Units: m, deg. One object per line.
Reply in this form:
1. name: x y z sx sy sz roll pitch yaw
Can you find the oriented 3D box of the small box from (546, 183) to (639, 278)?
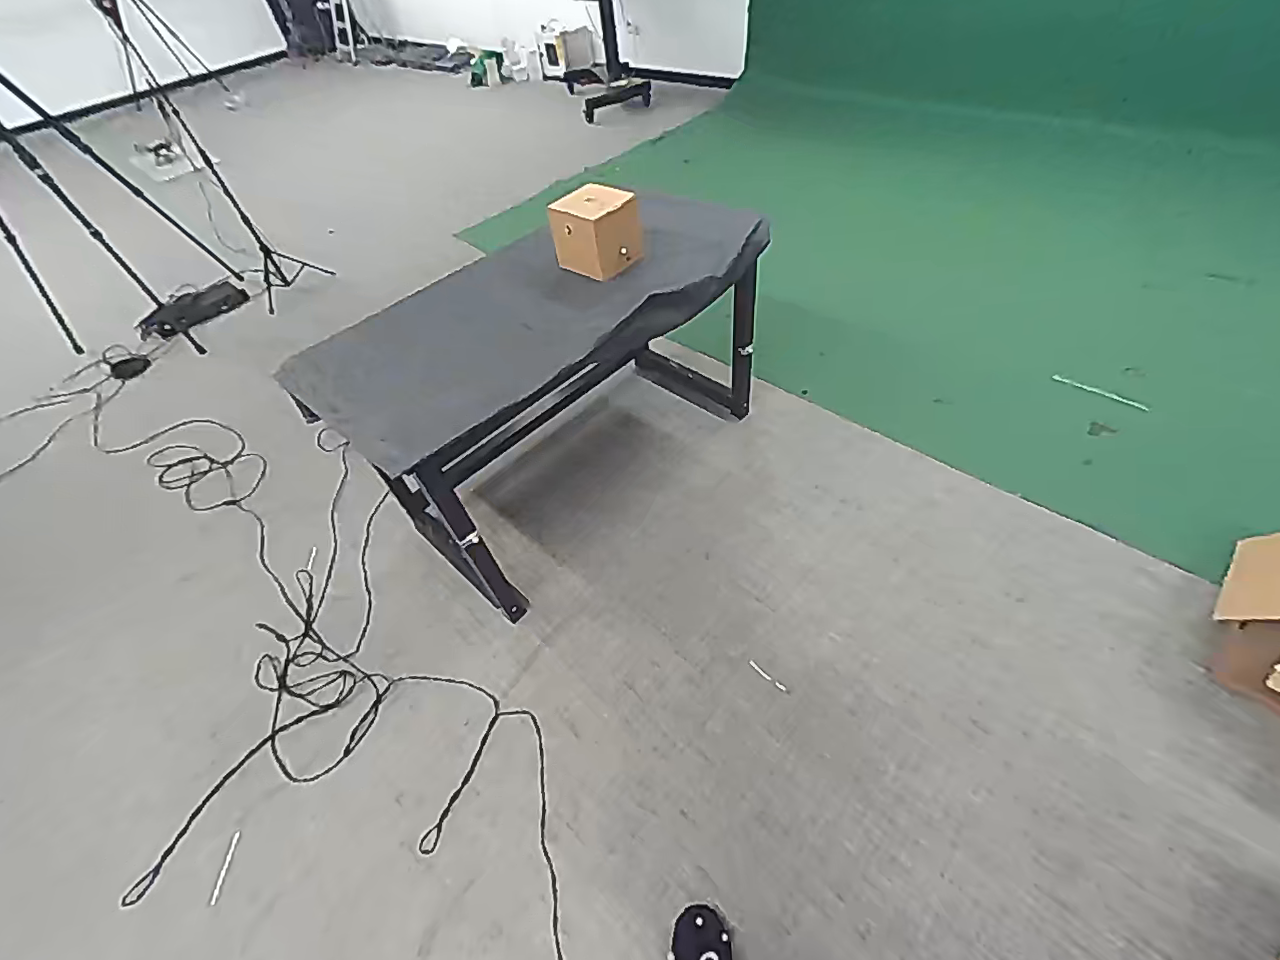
1. small box: -0.122 -0.672 1.459 0.179 0.176 0.168 31 60 29
